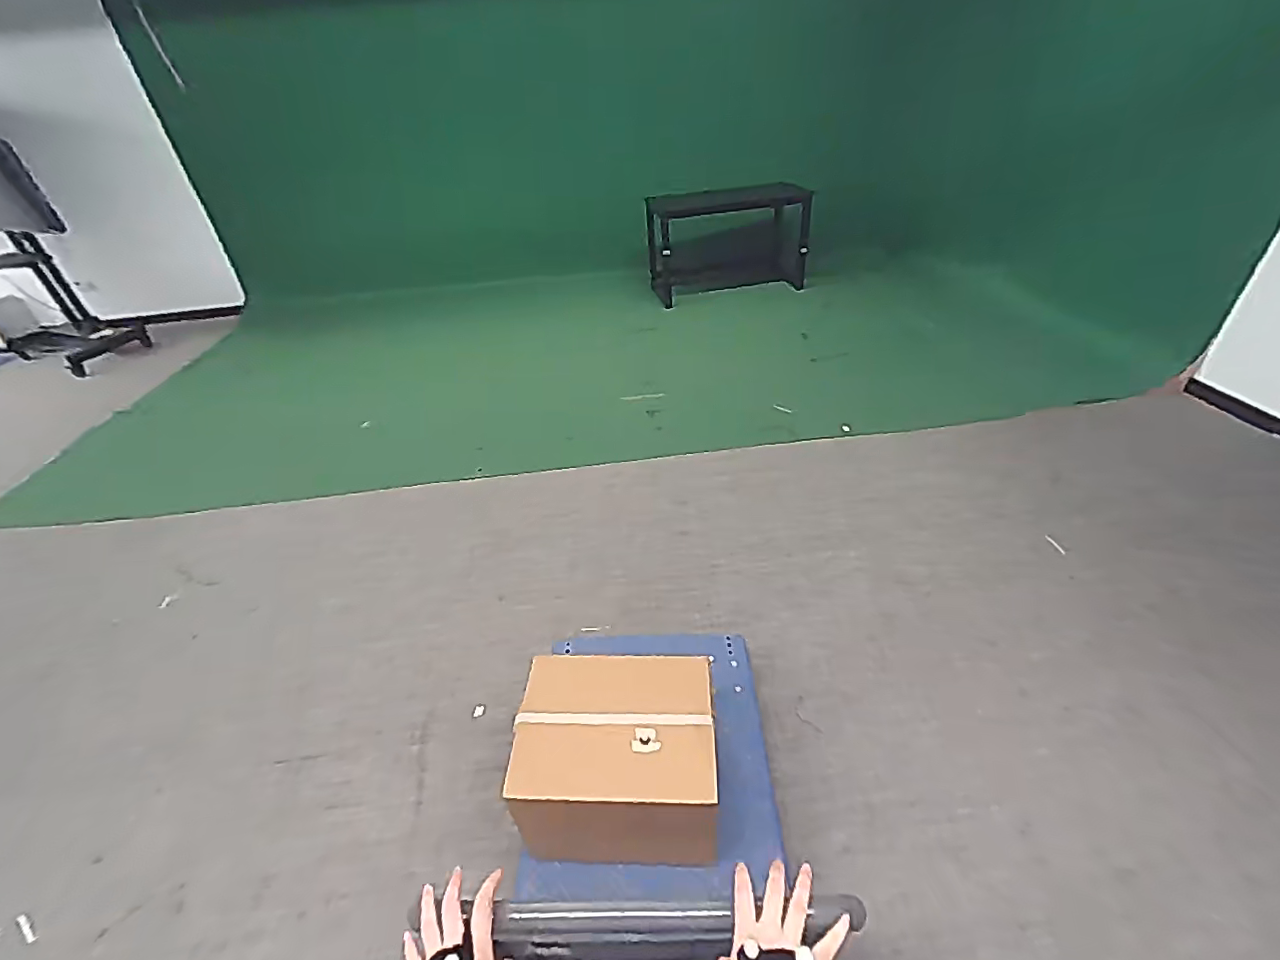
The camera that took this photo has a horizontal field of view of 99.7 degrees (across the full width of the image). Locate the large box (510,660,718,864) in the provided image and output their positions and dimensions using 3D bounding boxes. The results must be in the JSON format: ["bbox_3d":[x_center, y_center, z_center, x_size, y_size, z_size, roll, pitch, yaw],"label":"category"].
[{"bbox_3d":[-0.043,0.630,1.219,0.408,0.320,0.320,0,37,3],"label":"large box"}]
